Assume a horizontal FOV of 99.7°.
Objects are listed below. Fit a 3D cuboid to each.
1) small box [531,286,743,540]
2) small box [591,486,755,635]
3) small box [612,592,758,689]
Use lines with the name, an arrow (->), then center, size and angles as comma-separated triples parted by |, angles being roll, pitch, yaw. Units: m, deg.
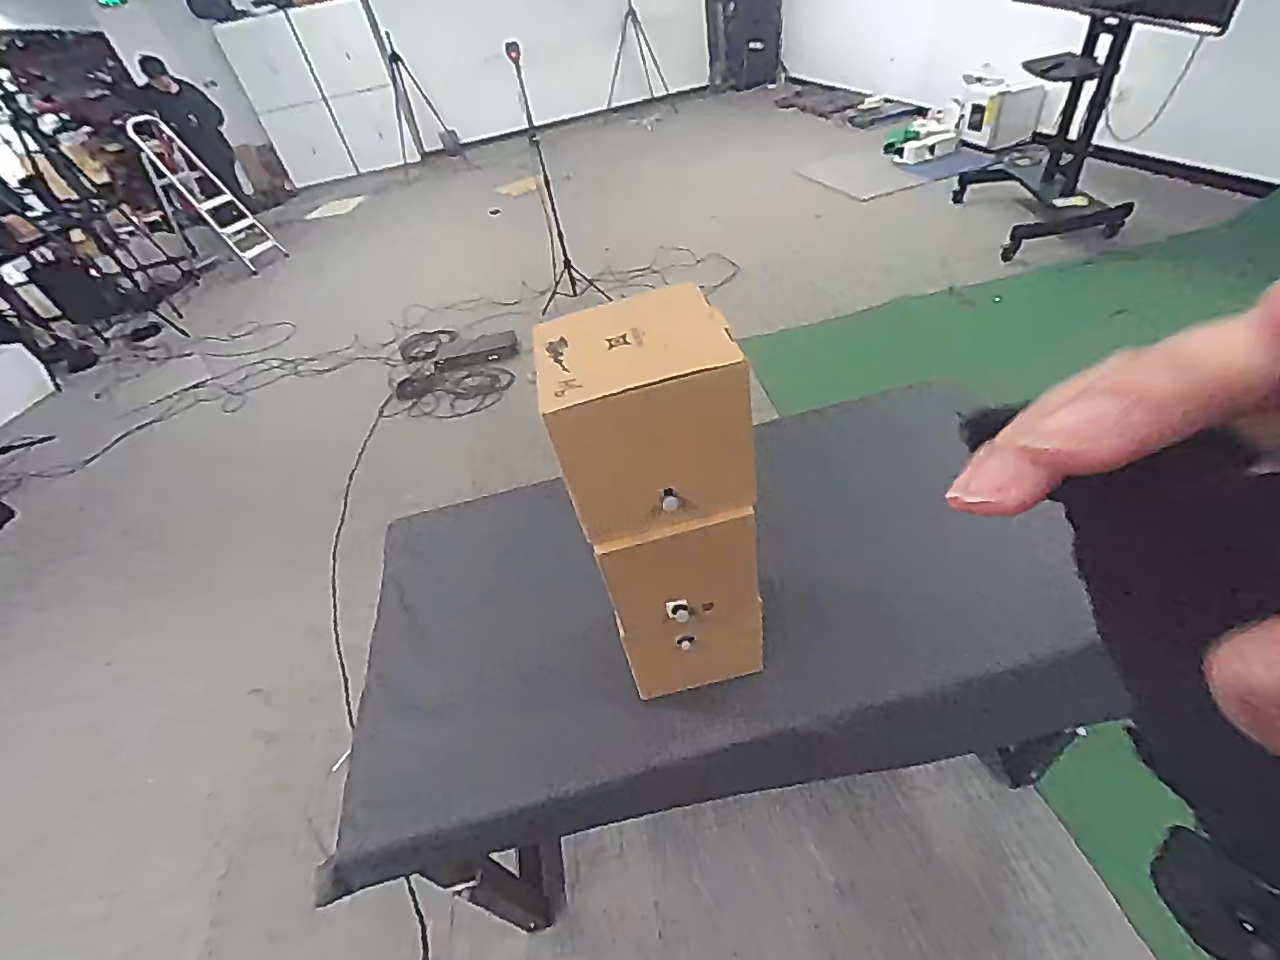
small box -> -0.001, -0.066, 0.546 | 0.179, 0.176, 0.168 | -14, 42, 0
small box -> 0.031, 0.055, 0.652 | 0.168, 0.176, 0.179 | -16, 43, 0
small box -> 0.059, 0.170, 0.761 | 0.179, 0.176, 0.168 | -13, 42, -1
